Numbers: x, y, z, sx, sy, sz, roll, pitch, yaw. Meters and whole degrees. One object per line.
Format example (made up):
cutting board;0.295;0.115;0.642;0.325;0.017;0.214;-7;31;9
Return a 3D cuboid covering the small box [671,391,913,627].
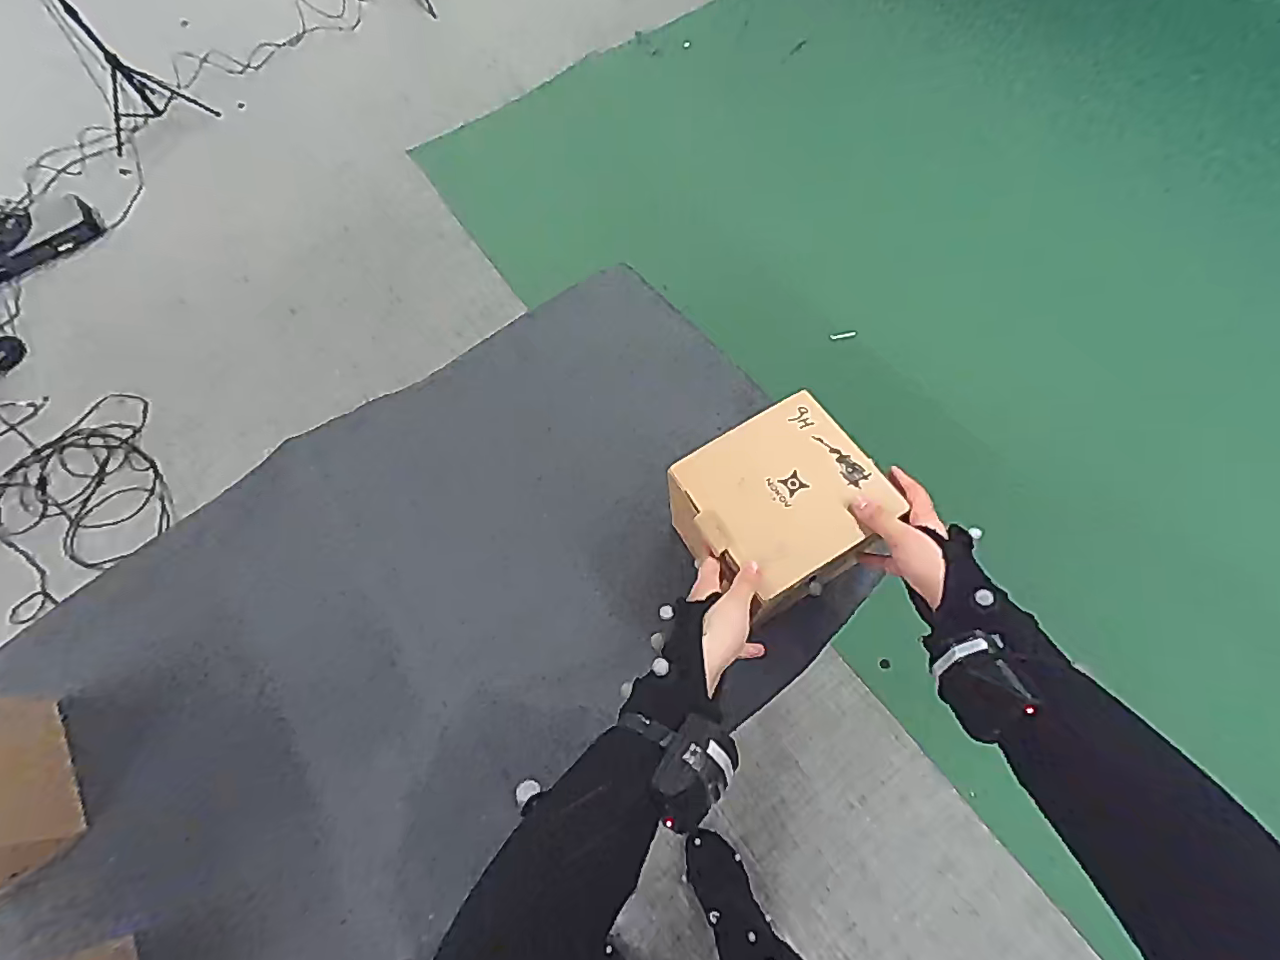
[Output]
small box;0.154;0.042;0.598;0.179;0.176;0.168;-30;66;-7
